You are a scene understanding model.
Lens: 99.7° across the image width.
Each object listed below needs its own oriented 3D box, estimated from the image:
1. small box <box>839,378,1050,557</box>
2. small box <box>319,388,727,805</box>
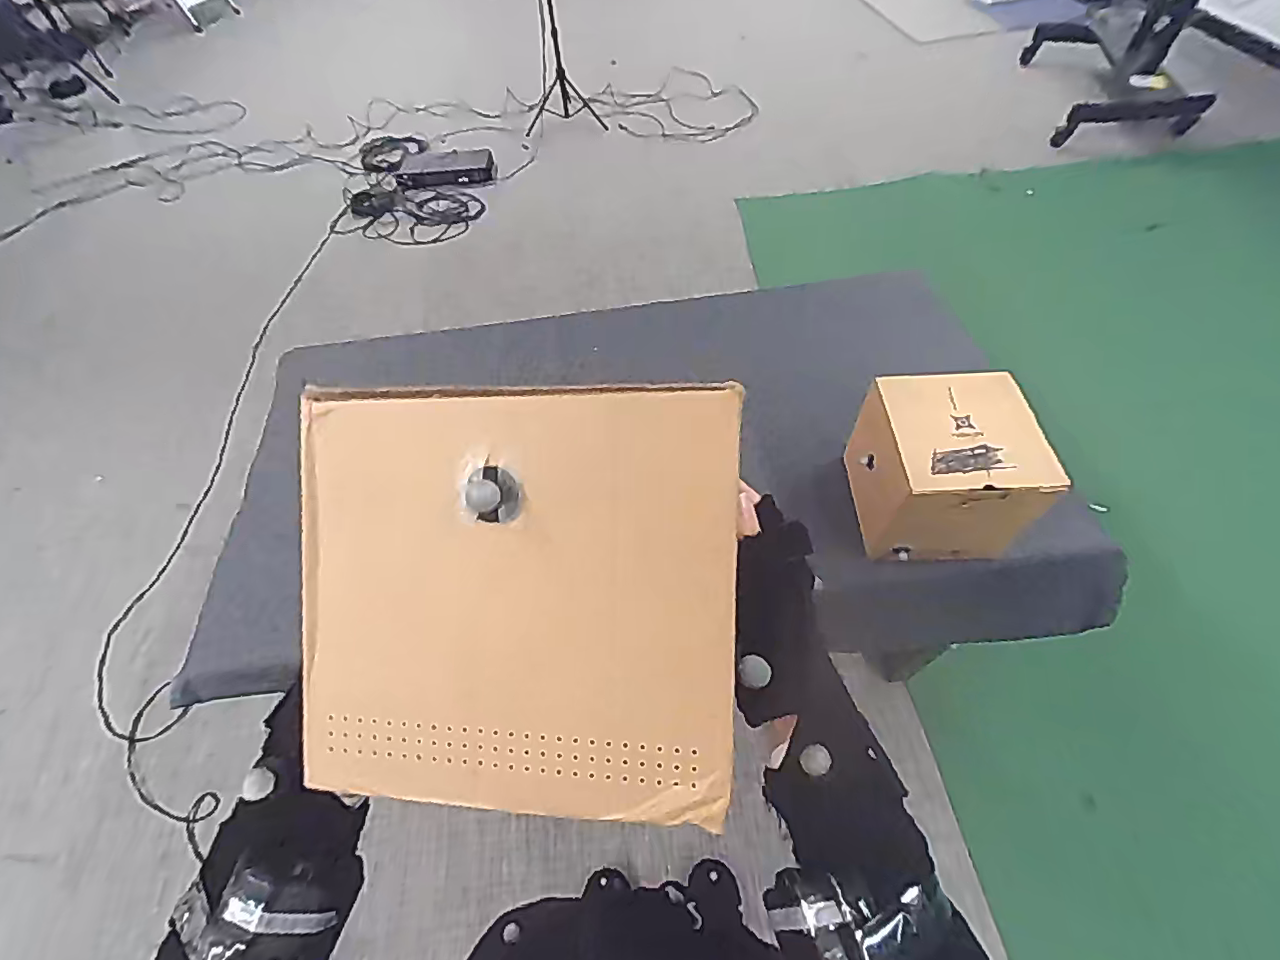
[{"bbox_3d":[0.372,-0.010,0.702,0.168,0.176,0.179,-1,55,4],"label":"small box"},{"bbox_3d":[-0.043,0.045,0.298,0.179,0.168,0.176,2,94,8],"label":"small box"}]
